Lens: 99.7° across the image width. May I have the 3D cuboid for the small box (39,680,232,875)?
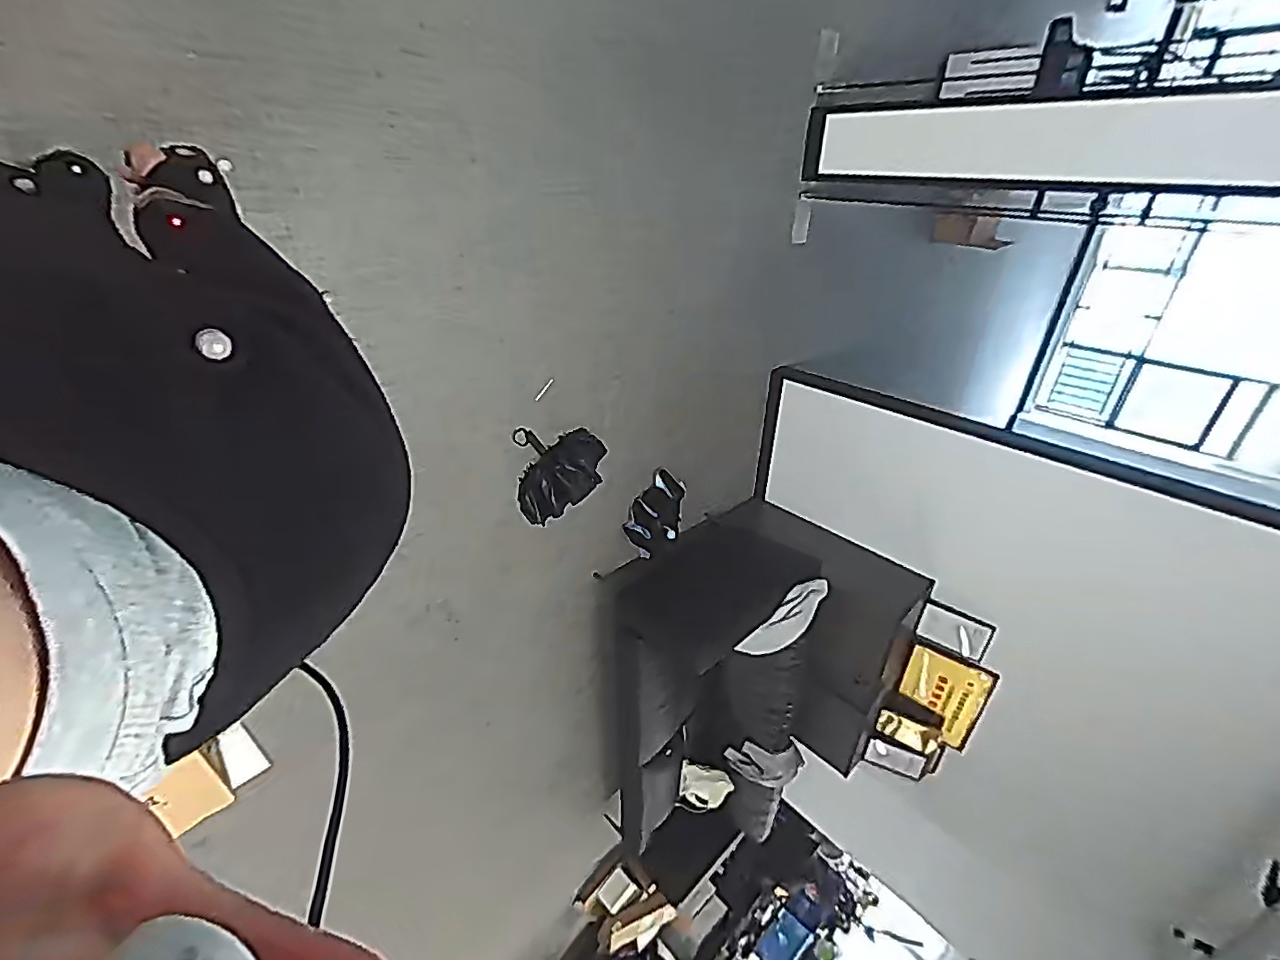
[{"bbox_3d":[-0.786,0.457,0.853,0.168,0.176,0.179,-27,132,-35],"label":"small box"}]
